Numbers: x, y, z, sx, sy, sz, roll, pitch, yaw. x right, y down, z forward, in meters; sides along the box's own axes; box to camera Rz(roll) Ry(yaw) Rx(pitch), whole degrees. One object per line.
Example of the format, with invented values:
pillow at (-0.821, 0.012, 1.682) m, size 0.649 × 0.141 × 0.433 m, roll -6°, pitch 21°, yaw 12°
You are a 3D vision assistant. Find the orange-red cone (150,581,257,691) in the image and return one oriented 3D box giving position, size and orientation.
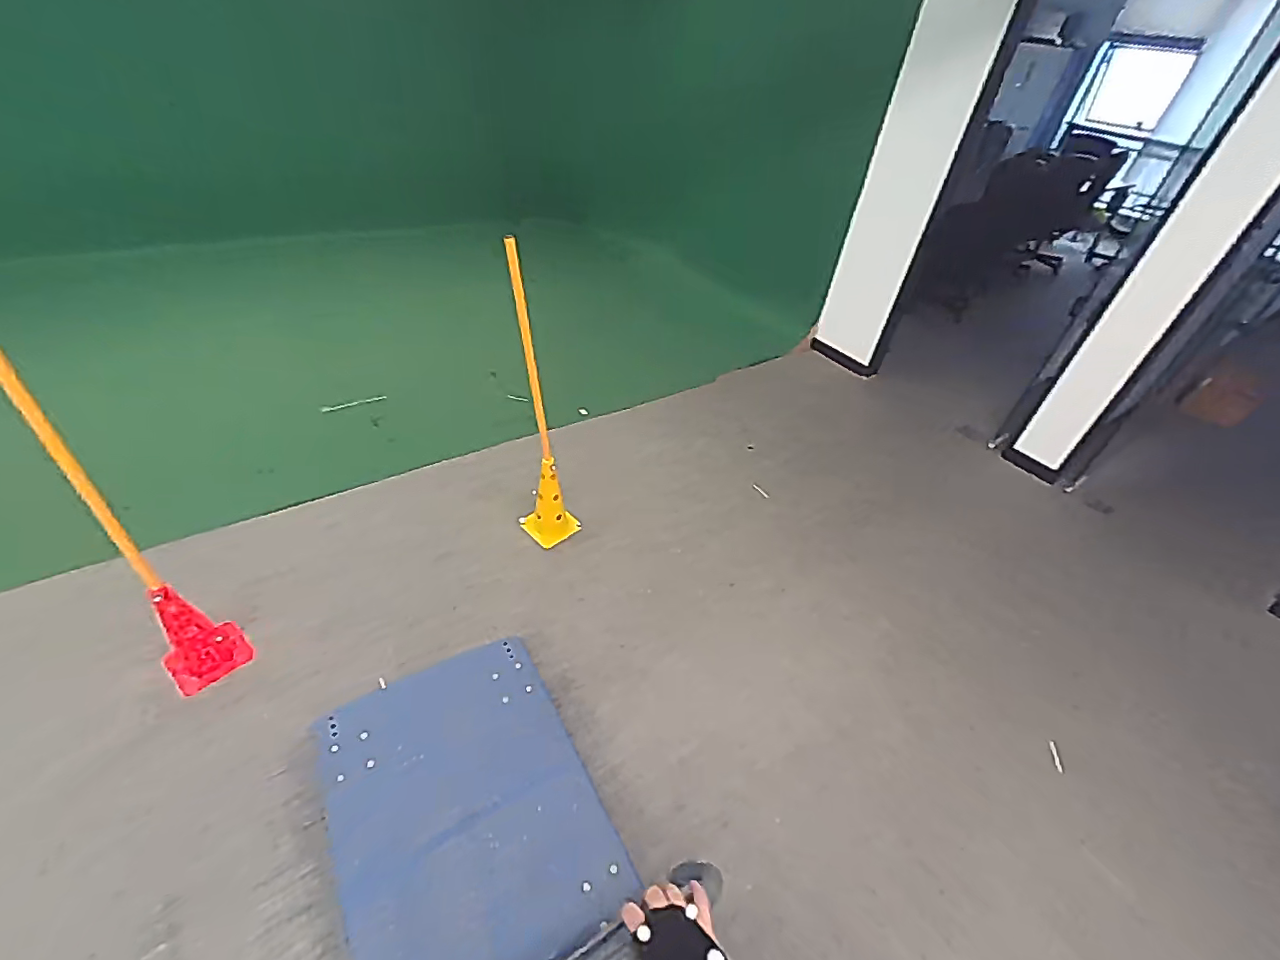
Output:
orange-red cone at (-1.332, 0.422, 1.590) m, size 0.198 × 0.360 × 0.199 m, roll 32°, pitch 48°, yaw 27°
